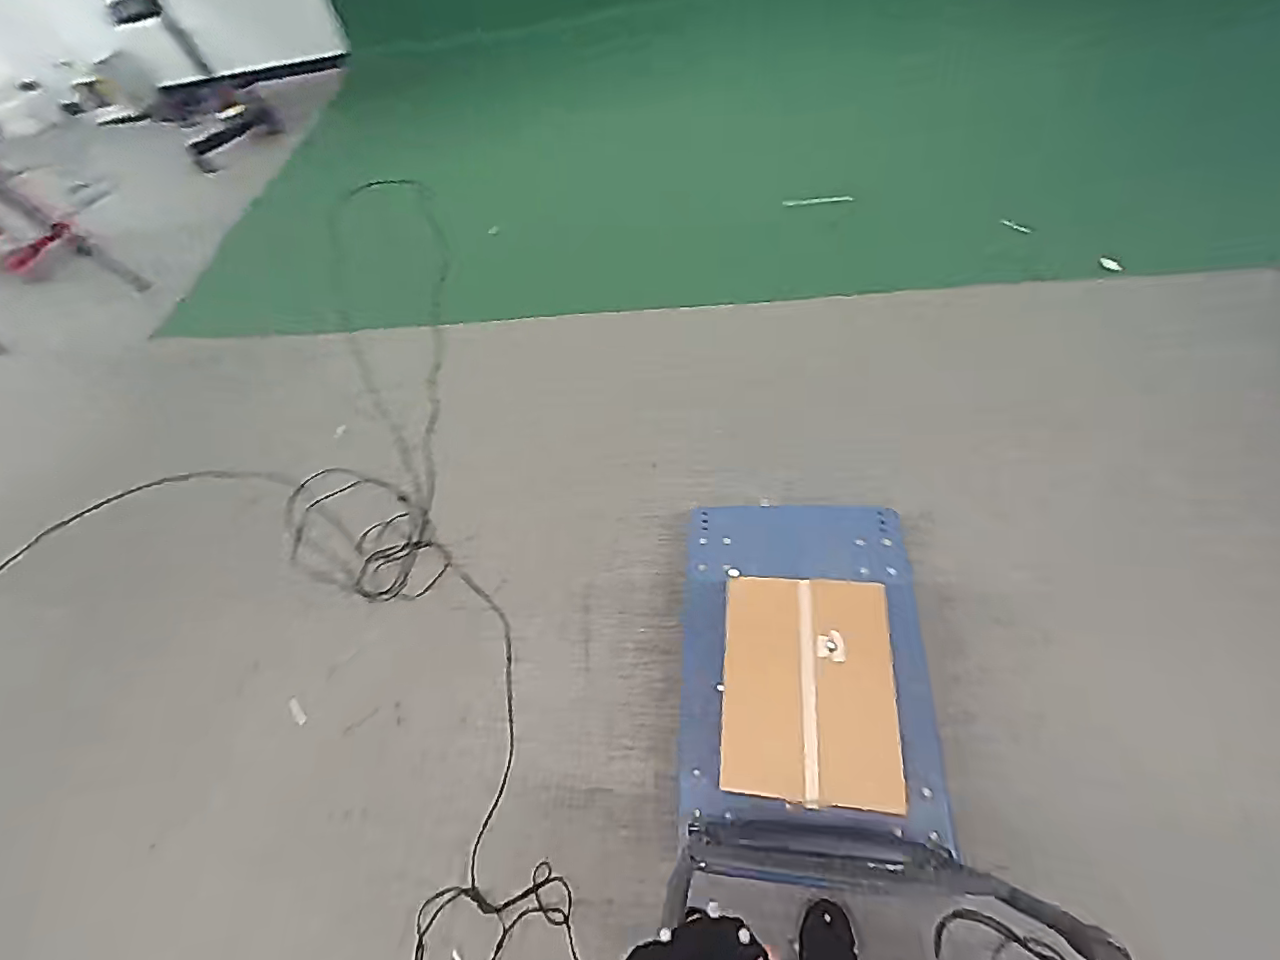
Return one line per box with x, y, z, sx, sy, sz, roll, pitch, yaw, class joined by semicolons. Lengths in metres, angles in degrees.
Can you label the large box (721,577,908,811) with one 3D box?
0.339;0.454;1.145;0.320;0.320;0.408;2;60;11;large box
